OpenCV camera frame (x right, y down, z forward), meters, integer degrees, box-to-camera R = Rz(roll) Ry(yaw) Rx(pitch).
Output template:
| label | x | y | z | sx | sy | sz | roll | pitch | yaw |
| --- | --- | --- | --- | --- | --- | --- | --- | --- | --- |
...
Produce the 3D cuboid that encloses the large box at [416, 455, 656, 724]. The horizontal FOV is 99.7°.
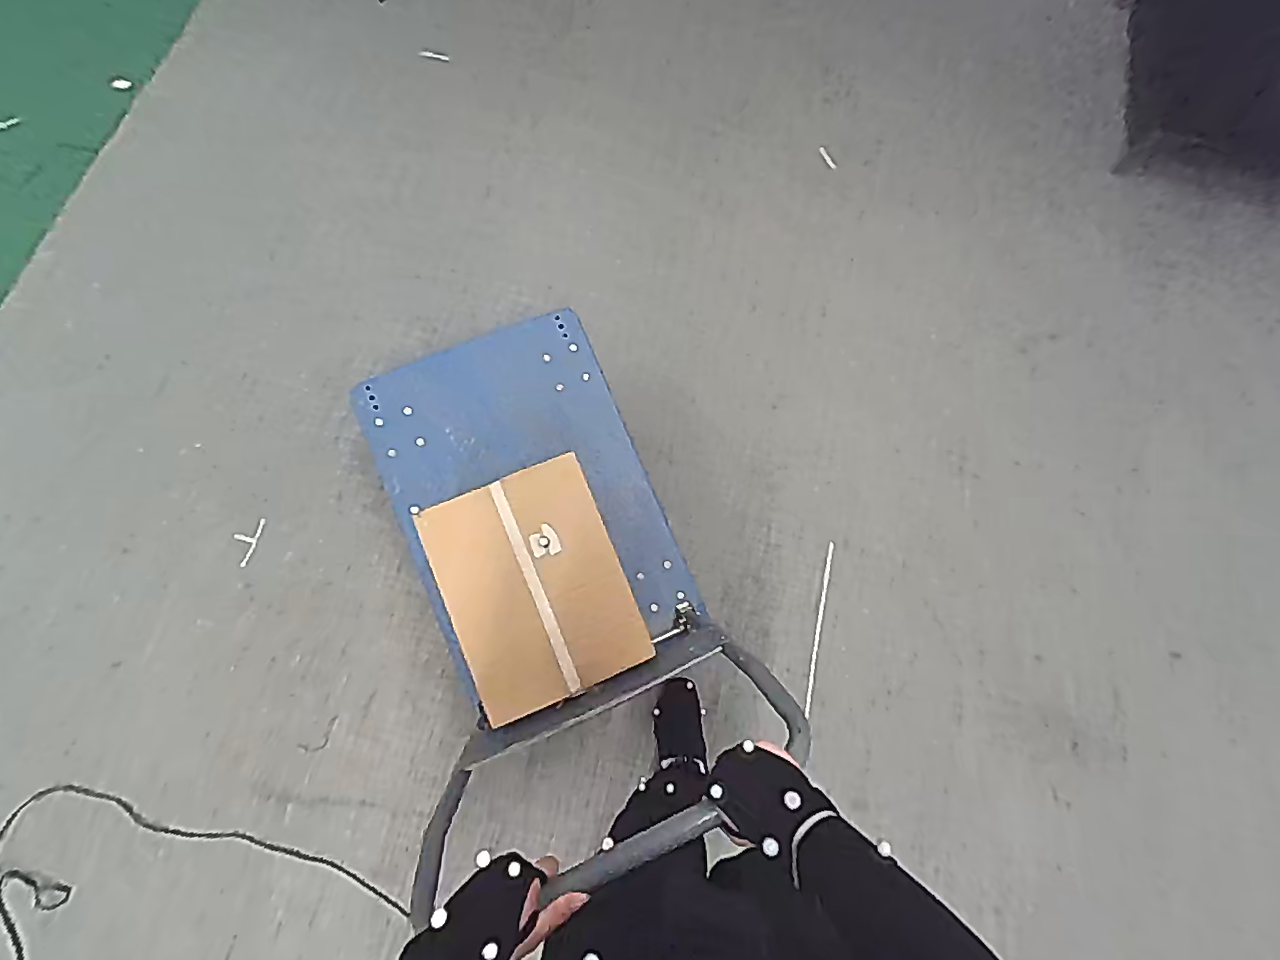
| label | x | y | z | sx | sy | sz | roll | pitch | yaw |
| --- | --- | --- | --- | --- | --- | --- | --- | --- | --- |
| large box | -0.197 | 0.210 | 1.122 | 0.320 | 0.320 | 0.408 | -23 | 84 | -8 |
